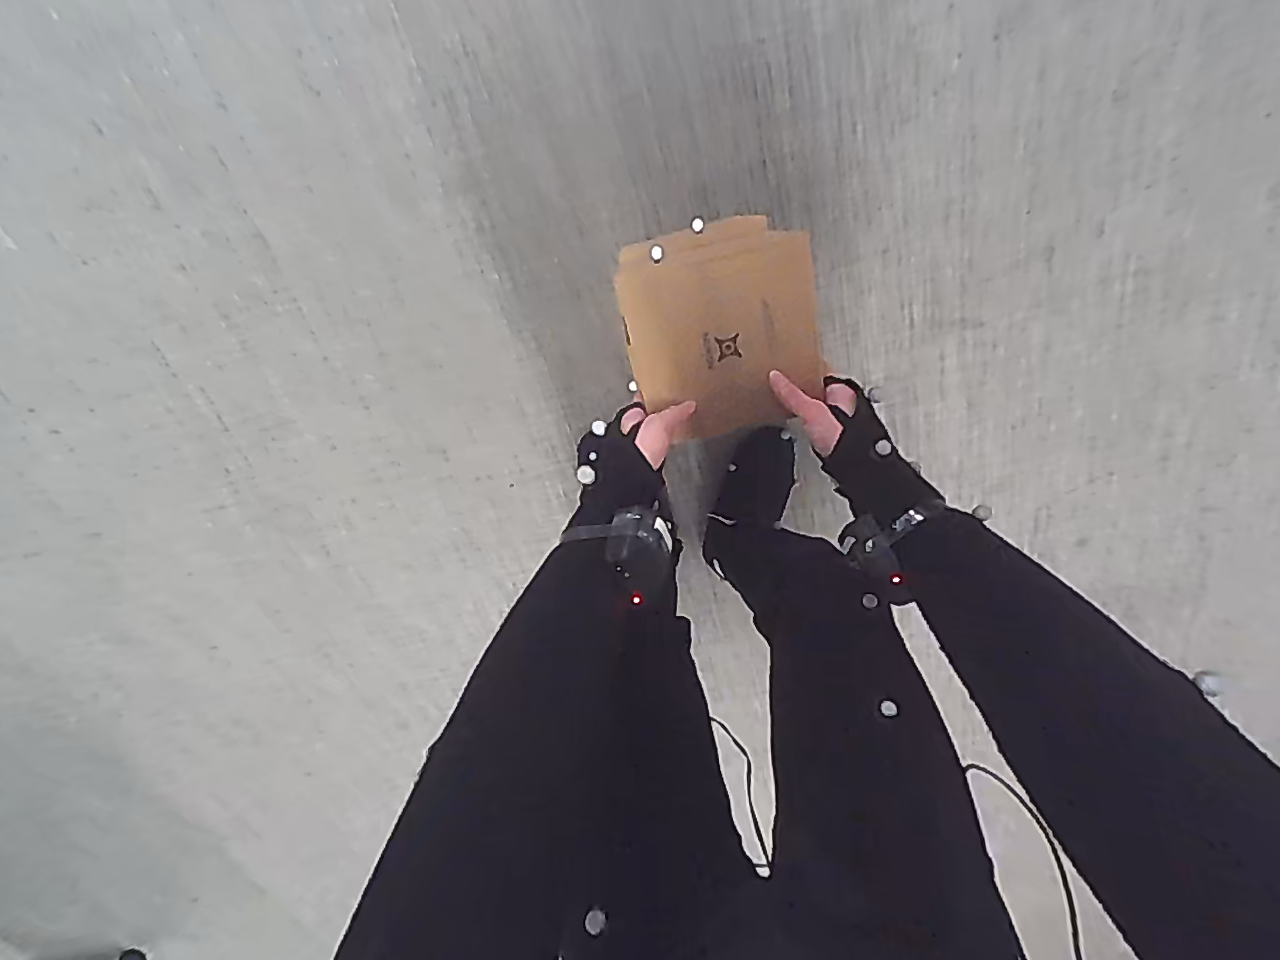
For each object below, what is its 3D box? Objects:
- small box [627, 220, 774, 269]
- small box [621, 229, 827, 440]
[{"bbox_3d":[0.084,-0.248,0.735,0.179,0.176,0.168,-13,115,5],"label":"small box"},{"bbox_3d":[0.083,-0.161,0.583,0.179,0.176,0.168,-13,114,4],"label":"small box"}]
